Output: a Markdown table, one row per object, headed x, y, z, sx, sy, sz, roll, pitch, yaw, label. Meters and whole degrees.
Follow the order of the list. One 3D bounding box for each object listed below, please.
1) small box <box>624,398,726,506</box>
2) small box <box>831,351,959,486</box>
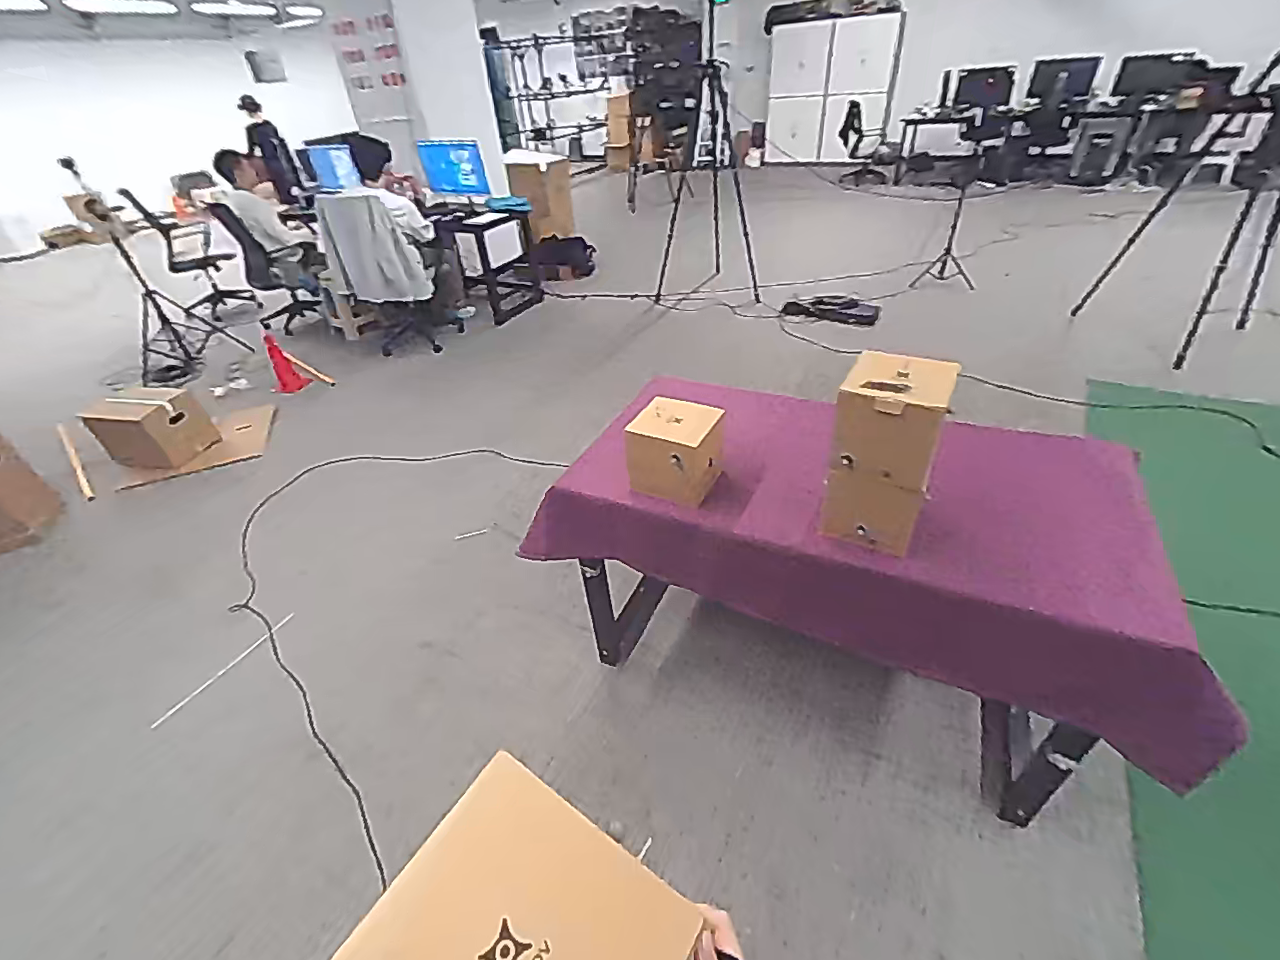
| x | y | z | sx | sy | sz | roll | pitch | yaw | label |
| --- | --- | --- | --- | --- | --- | --- | --- | --- | --- |
| 0.085 | -0.063 | 1.237 | 0.179 | 0.176 | 0.168 | 15 | 41 | 25 | small box |
| 0.453 | -0.112 | 0.975 | 0.168 | 0.176 | 0.179 | 17 | 42 | 28 | small box |
